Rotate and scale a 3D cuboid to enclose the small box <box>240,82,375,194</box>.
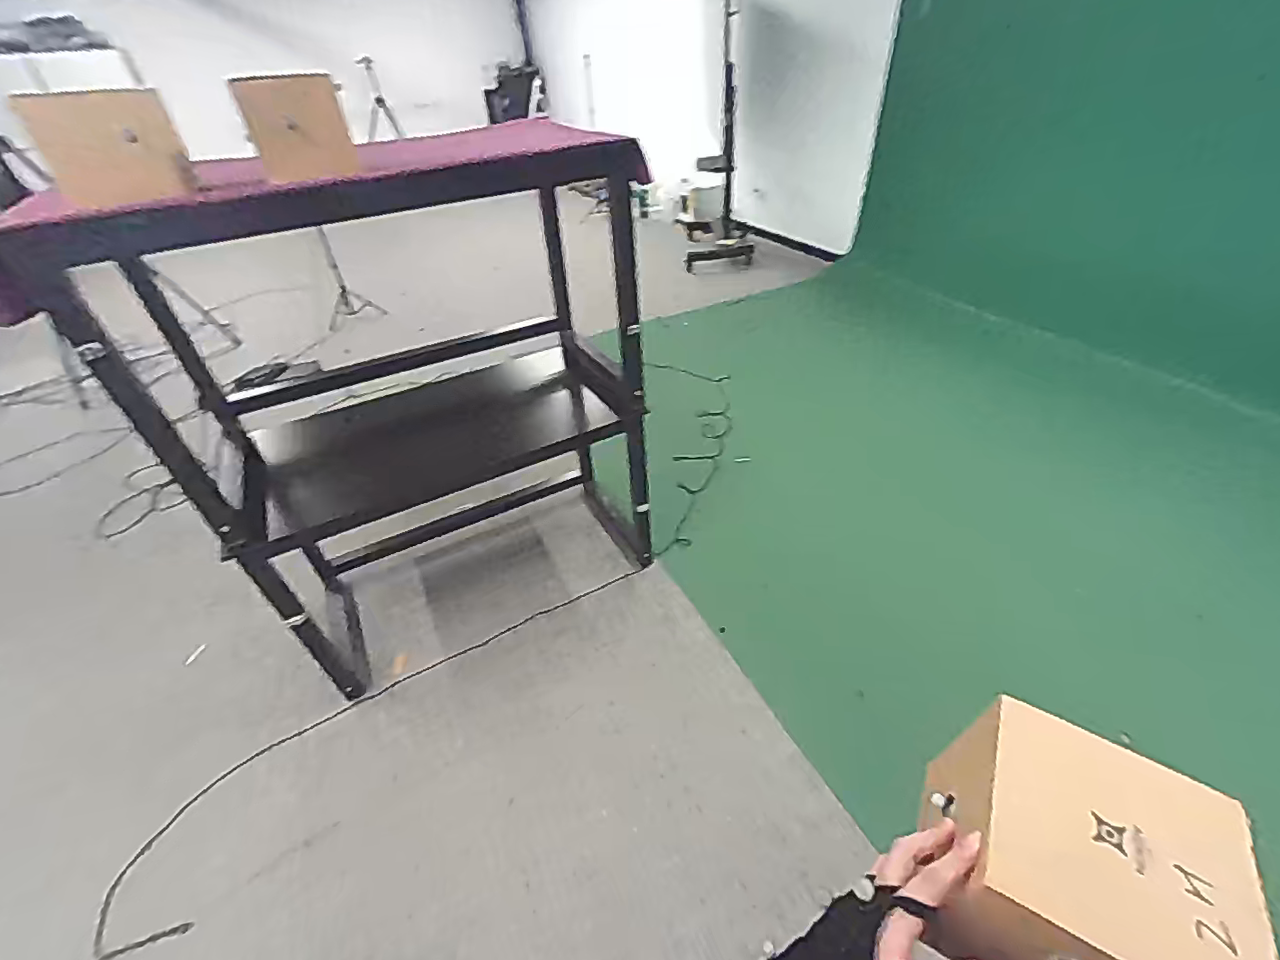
[{"bbox_3d":[-0.660,-0.690,1.094,0.179,0.176,0.168,-19,40,-16],"label":"small box"}]

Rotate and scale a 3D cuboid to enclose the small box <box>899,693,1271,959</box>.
[{"bbox_3d":[0.339,0.321,0.446,0.179,0.176,0.168,23,45,21],"label":"small box"}]
